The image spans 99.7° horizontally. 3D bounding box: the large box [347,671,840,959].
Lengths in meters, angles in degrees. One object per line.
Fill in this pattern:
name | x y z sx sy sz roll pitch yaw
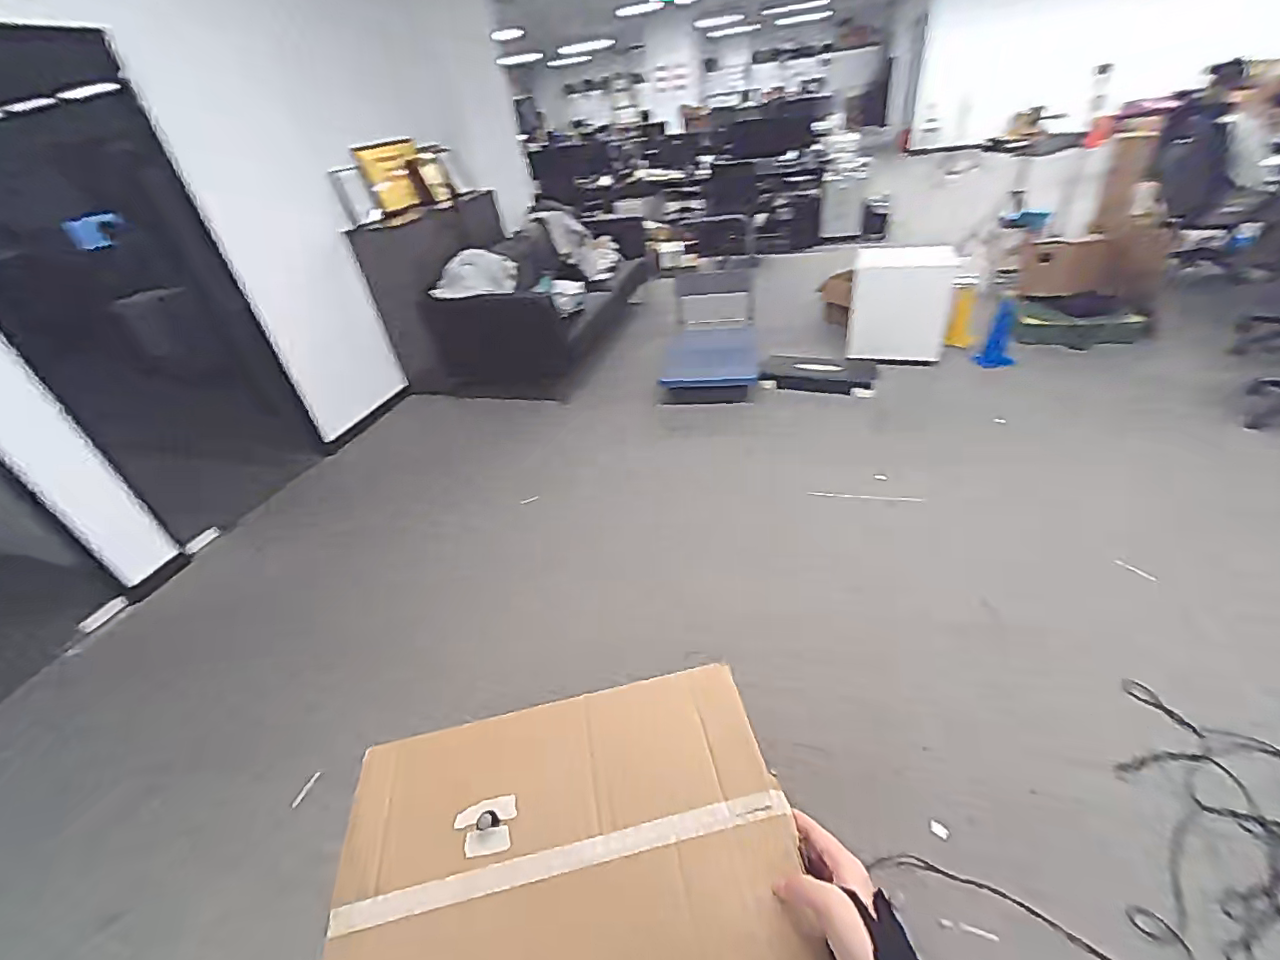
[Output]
large box | -0.035 0.466 0.577 0.408 0.320 0.320 -13 37 -3
